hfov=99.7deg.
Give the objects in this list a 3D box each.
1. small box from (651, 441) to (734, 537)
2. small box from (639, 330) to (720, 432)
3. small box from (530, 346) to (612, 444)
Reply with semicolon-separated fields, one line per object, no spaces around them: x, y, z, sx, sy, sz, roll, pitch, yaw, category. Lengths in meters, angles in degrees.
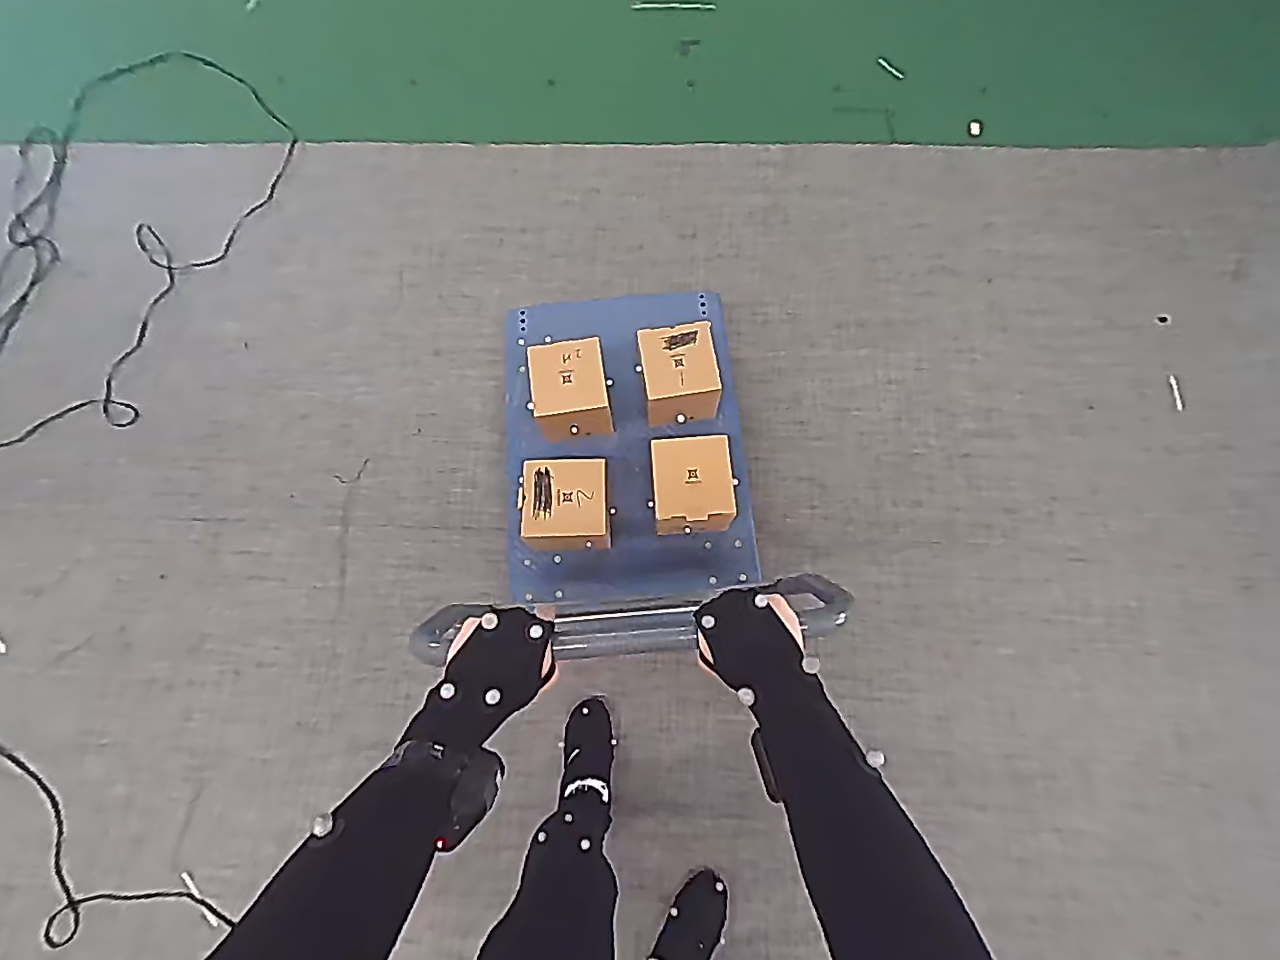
0.112;0.025;1.226;0.168;0.176;0.179;-4;74;0;small box
0.088;-0.234;1.302;0.168;0.176;0.179;-9;74;0;small box
-0.160;-0.194;1.297;0.168;0.176;0.179;-8;73;-2;small box
